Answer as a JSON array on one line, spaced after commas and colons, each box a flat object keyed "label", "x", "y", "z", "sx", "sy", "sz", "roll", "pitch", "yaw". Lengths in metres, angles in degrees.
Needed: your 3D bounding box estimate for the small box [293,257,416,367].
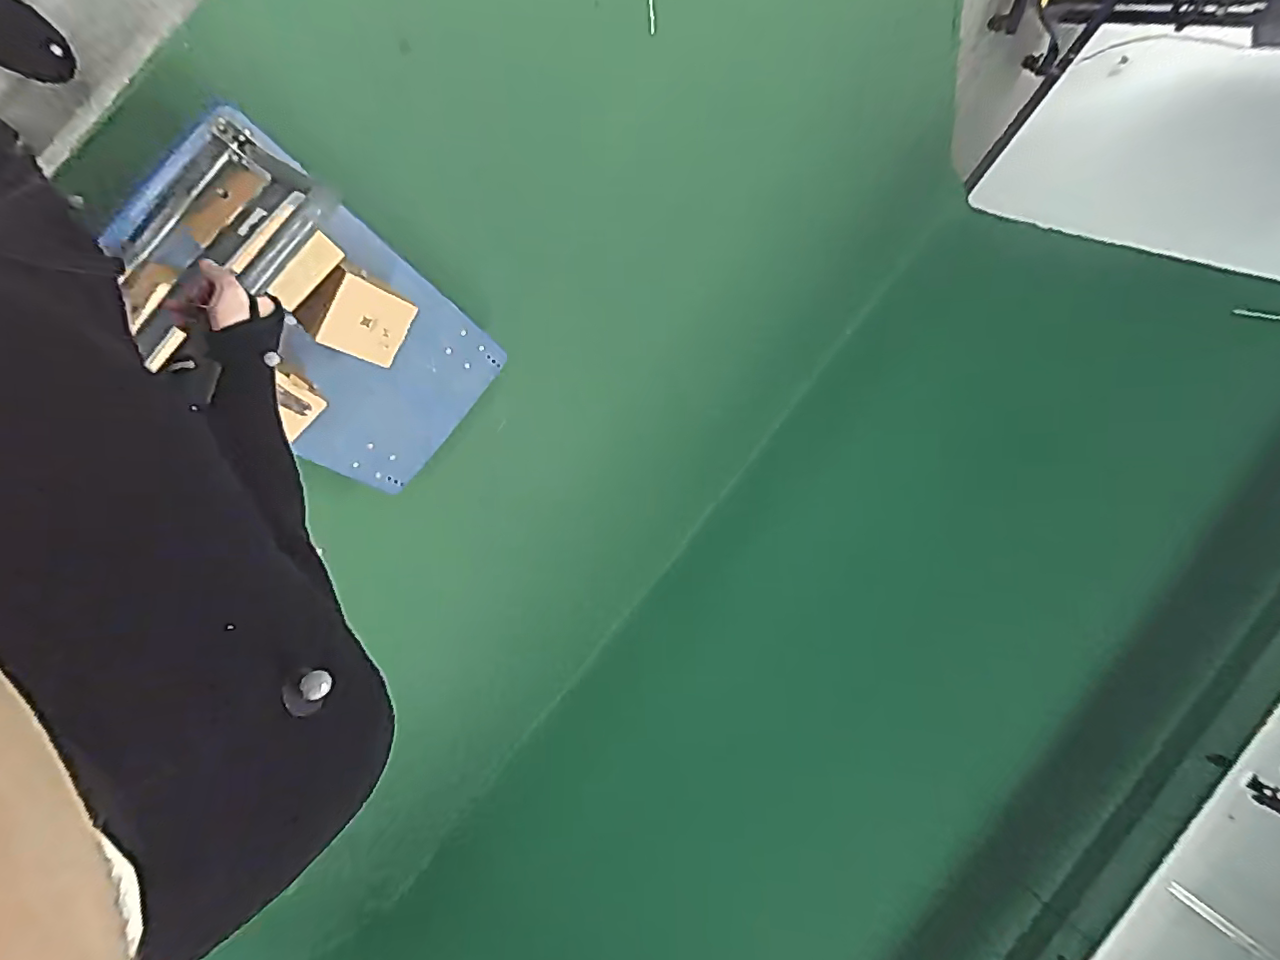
[{"label": "small box", "x": -0.666, "y": -0.392, "z": 1.254, "sx": 0.179, "sy": 0.176, "sz": 0.168, "roll": 19, "pitch": 106, "yaw": -56}]
